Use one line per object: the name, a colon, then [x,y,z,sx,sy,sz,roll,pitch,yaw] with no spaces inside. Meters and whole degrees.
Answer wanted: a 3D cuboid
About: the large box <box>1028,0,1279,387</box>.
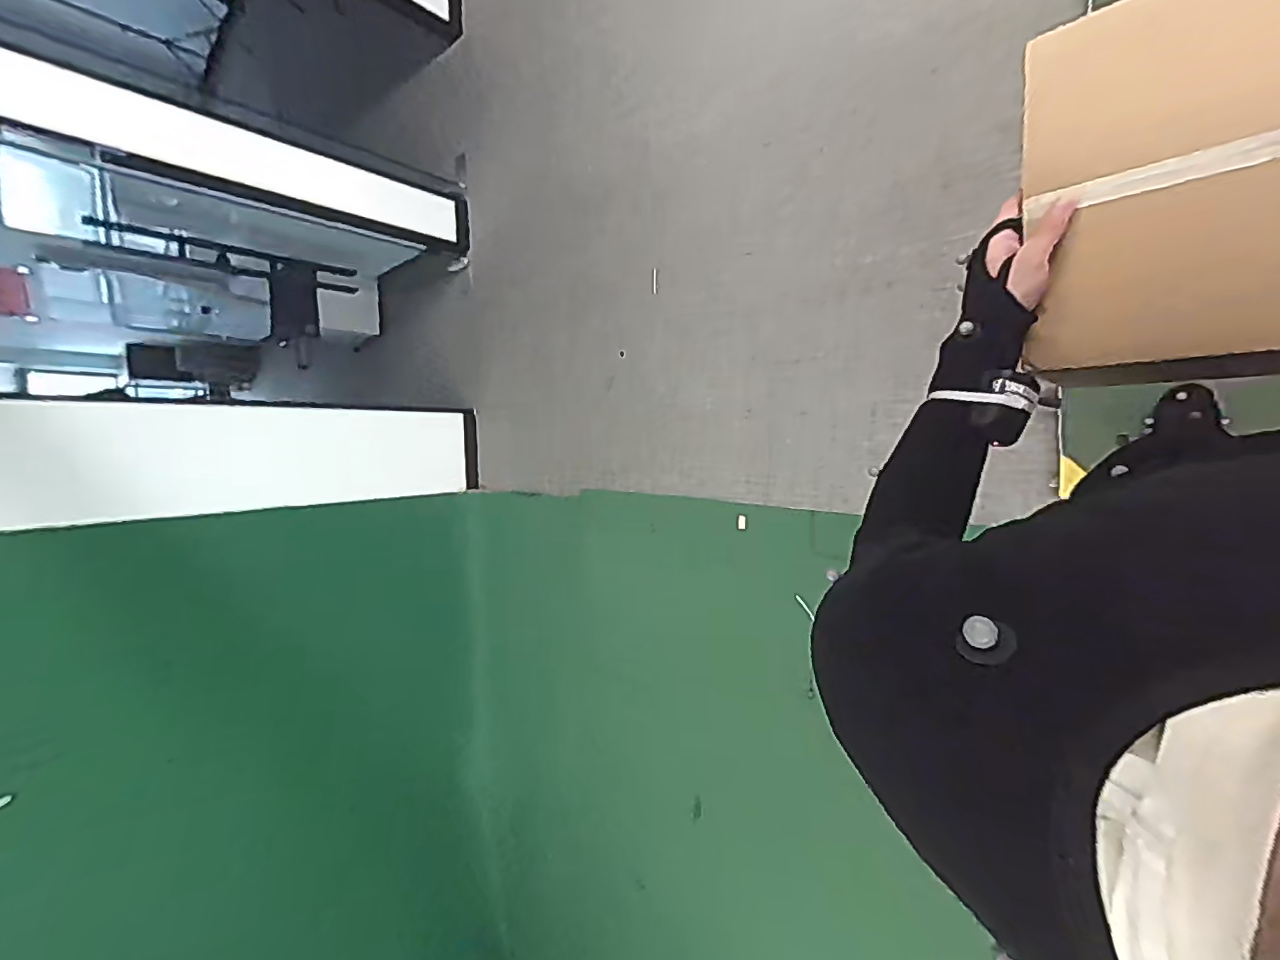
large box: [0.630,-0.272,0.508,0.408,0.320,0.320,1,95,43]
